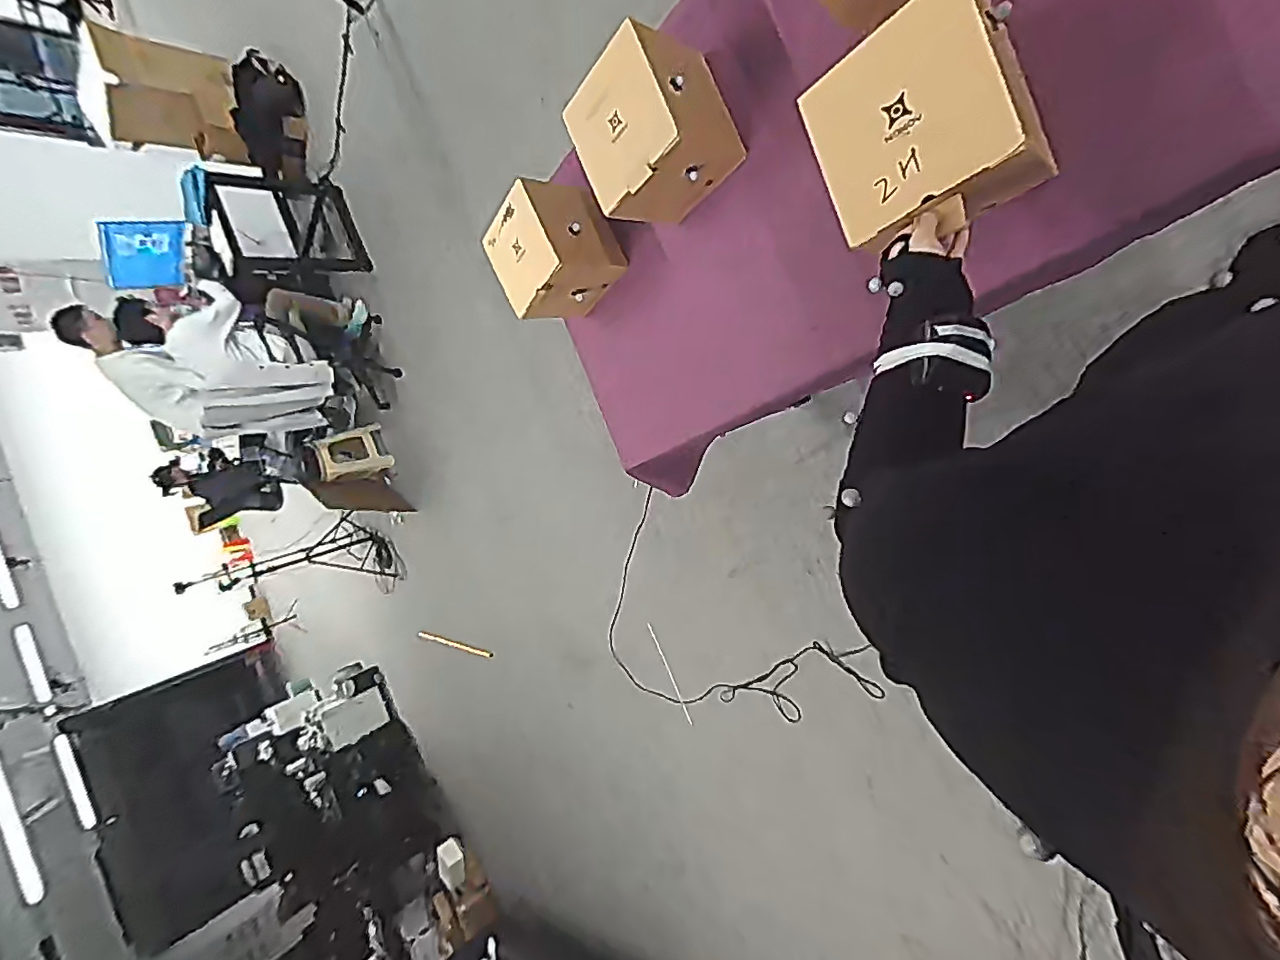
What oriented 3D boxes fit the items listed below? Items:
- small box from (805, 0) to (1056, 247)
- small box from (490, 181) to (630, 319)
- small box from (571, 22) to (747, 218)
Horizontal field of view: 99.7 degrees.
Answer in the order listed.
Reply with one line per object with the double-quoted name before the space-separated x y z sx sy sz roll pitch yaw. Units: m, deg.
"small box" 0.312 -0.372 0.579 0.168 0.176 0.179 -20 90 48
"small box" -0.148 -0.430 1.025 0.168 0.176 0.179 -32 83 46
"small box" 0.032 -0.519 0.812 0.168 0.176 0.179 -24 87 46
